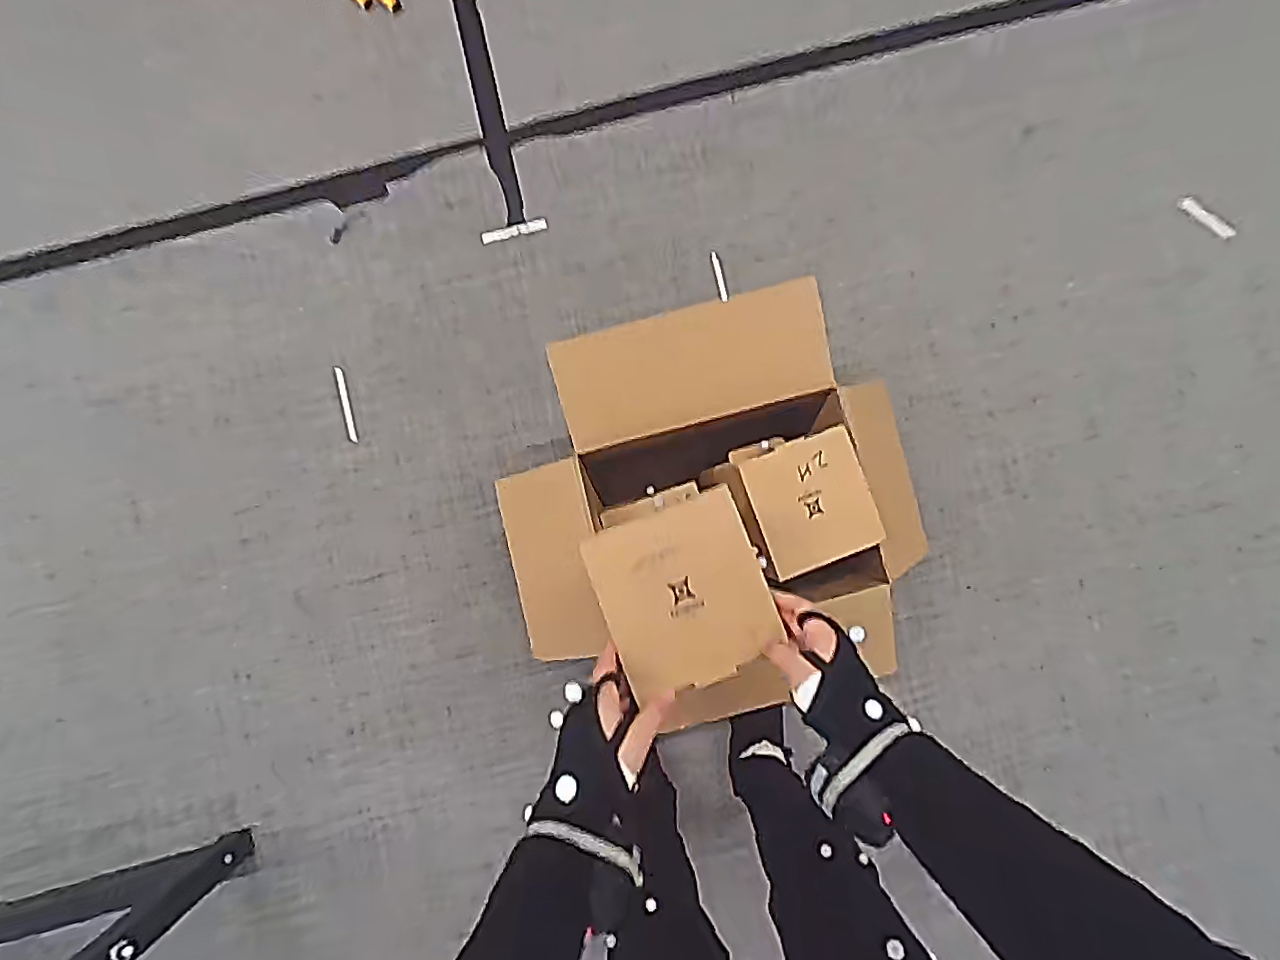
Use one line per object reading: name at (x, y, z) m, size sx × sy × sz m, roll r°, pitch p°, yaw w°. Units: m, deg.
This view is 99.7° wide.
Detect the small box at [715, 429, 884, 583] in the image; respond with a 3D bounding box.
small box at (0.230, 0.037, 0.823) m, size 0.168 × 0.176 × 0.179 m, roll -20°, pitch 89°, yaw -4°

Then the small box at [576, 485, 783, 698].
small box at (0.043, 0.116, 0.625) m, size 0.168 × 0.176 × 0.179 m, roll -21°, pitch 85°, yaw 0°
